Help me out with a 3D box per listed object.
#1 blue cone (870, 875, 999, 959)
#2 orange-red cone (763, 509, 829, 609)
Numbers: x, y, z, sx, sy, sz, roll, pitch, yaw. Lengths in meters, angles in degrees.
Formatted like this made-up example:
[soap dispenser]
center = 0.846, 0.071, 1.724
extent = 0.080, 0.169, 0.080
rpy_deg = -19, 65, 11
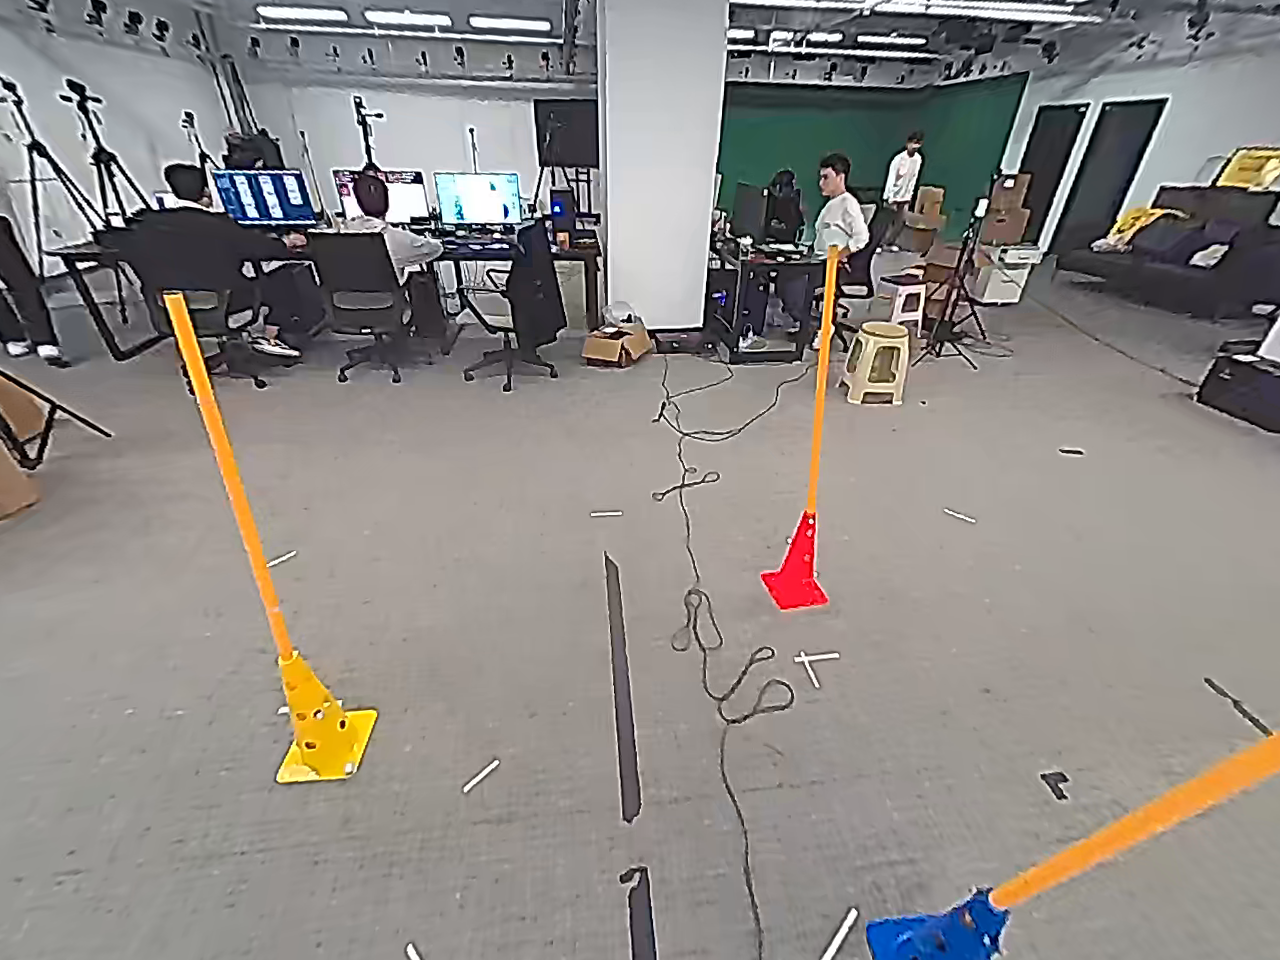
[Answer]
[blue cone]
center = 0.585, 0.850, 0.997
extent = 0.193, 0.380, 0.192
rpy_deg = -1, 31, -3
[orange-red cone]
center = 0.581, 0.260, 1.938
extent = 0.199, 0.360, 0.198
rpy_deg = -6, 32, -9
